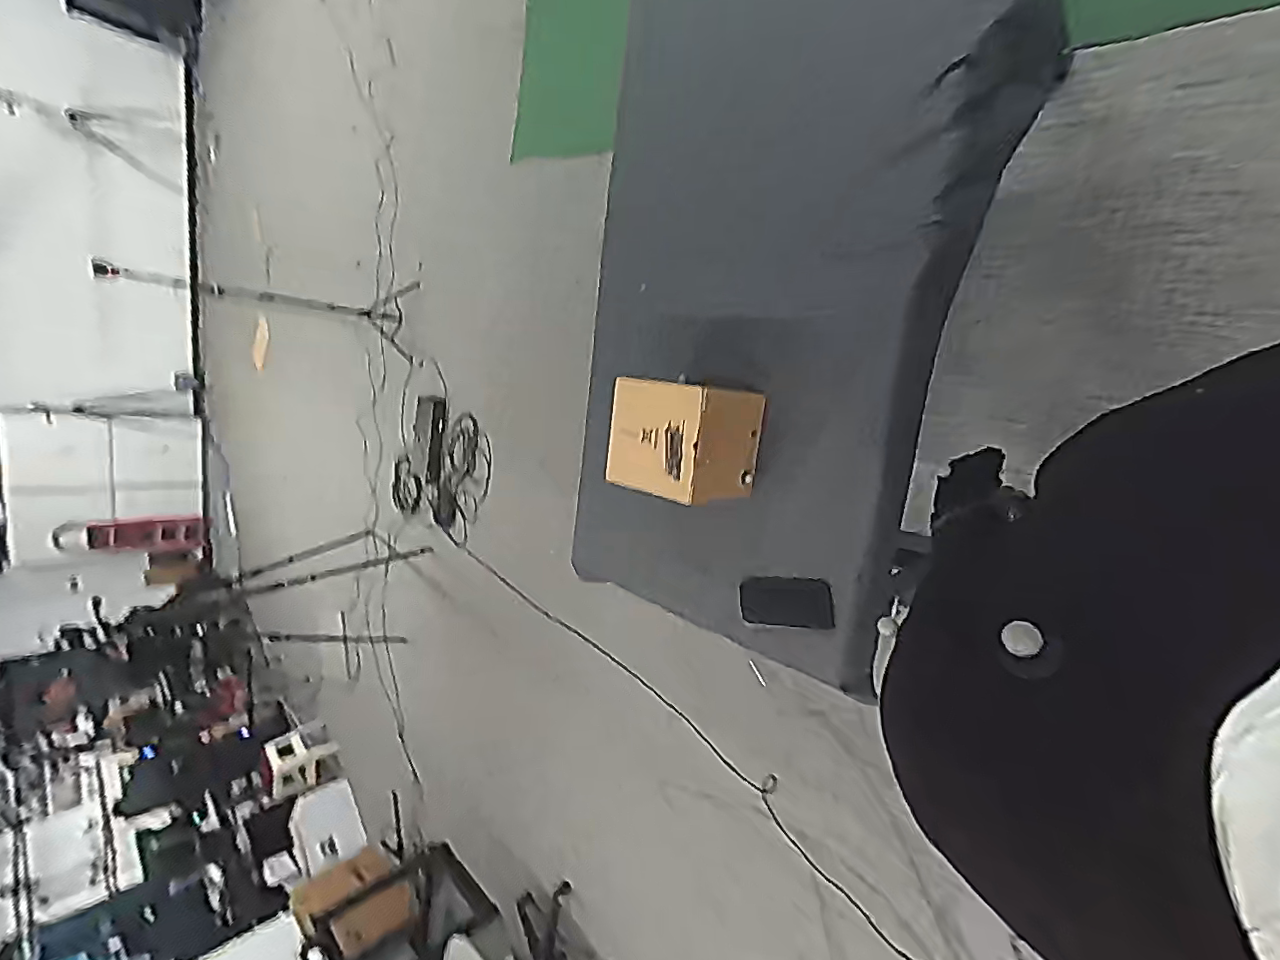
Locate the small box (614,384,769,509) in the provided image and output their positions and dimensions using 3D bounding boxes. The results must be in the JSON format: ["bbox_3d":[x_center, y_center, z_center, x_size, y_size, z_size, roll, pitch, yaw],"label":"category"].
[{"bbox_3d":[0.084,-0.059,0.863,0.179,0.176,0.168,15,103,42],"label":"small box"}]
